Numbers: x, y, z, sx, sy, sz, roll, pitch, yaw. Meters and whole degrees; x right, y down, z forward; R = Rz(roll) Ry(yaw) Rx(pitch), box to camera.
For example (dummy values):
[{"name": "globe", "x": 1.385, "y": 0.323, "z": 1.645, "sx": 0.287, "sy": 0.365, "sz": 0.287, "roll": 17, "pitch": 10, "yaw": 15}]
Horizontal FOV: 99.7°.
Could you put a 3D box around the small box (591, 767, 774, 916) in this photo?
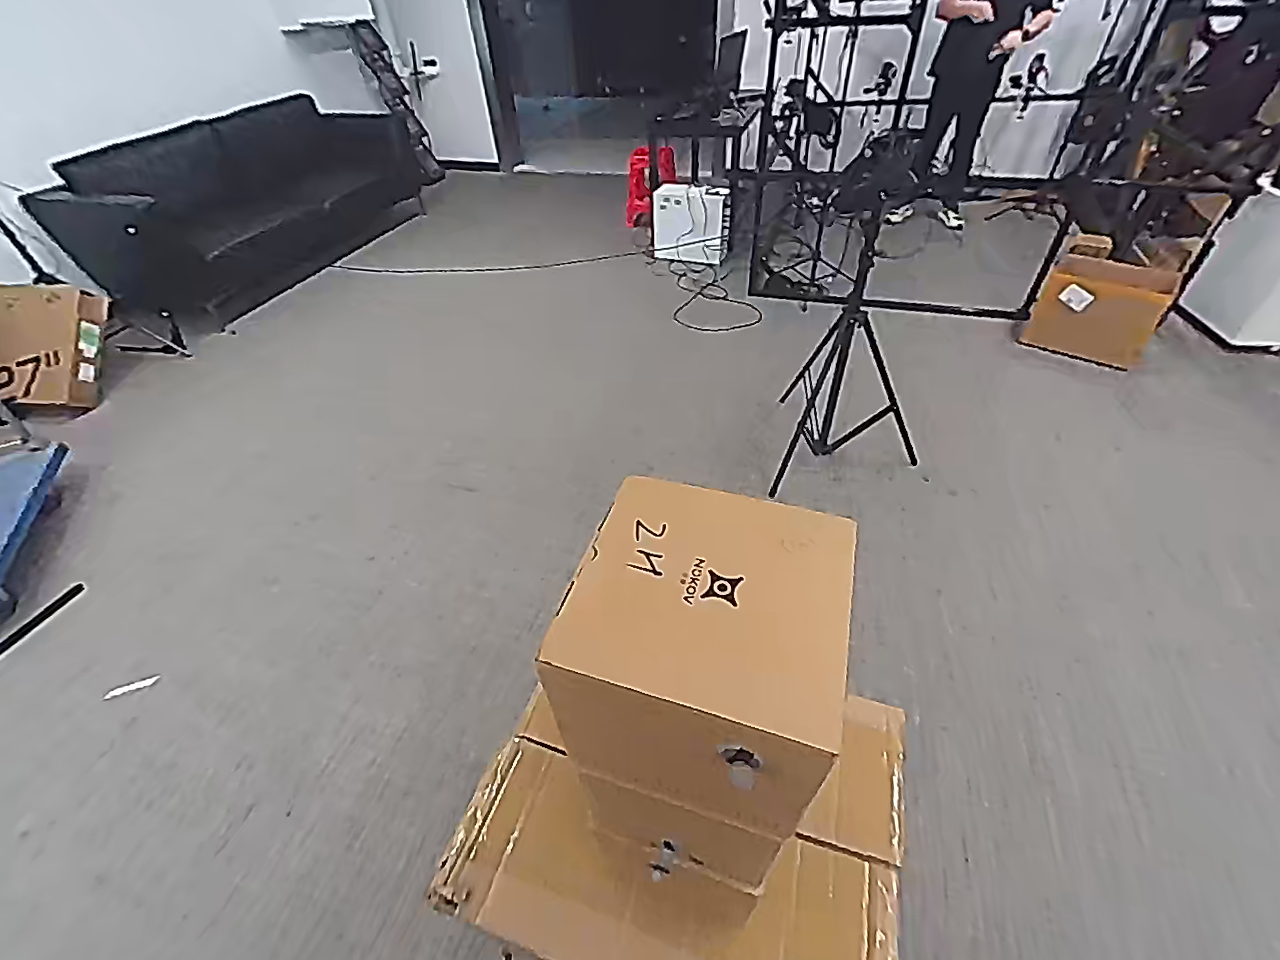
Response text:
[{"name": "small box", "x": 0.061, "y": 0.367, "z": 0.625, "sx": 0.179, "sy": 0.176, "sz": 0.168, "roll": 12, "pitch": 45, "yaw": 15}]

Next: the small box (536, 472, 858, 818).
[{"name": "small box", "x": 0.049, "y": 0.122, "z": 0.404, "sx": 0.179, "sy": 0.176, "sz": 0.168, "roll": 11, "pitch": 45, "yaw": 15}]
